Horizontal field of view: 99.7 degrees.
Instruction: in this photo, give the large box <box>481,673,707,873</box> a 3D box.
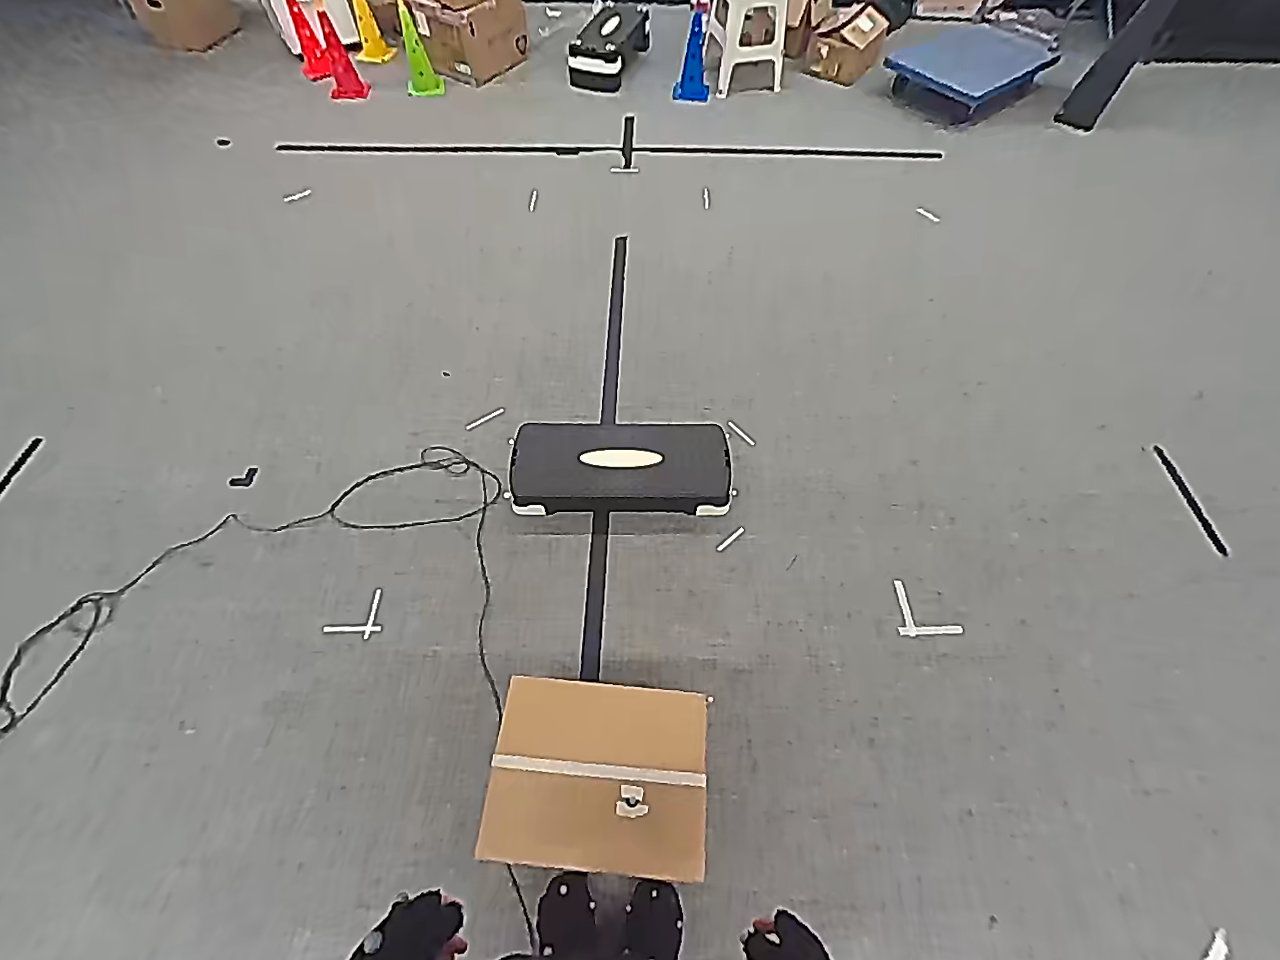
[{"bbox_3d":[-0.079,0.621,1.148,0.408,0.320,0.320,5,58,1],"label":"large box"}]
